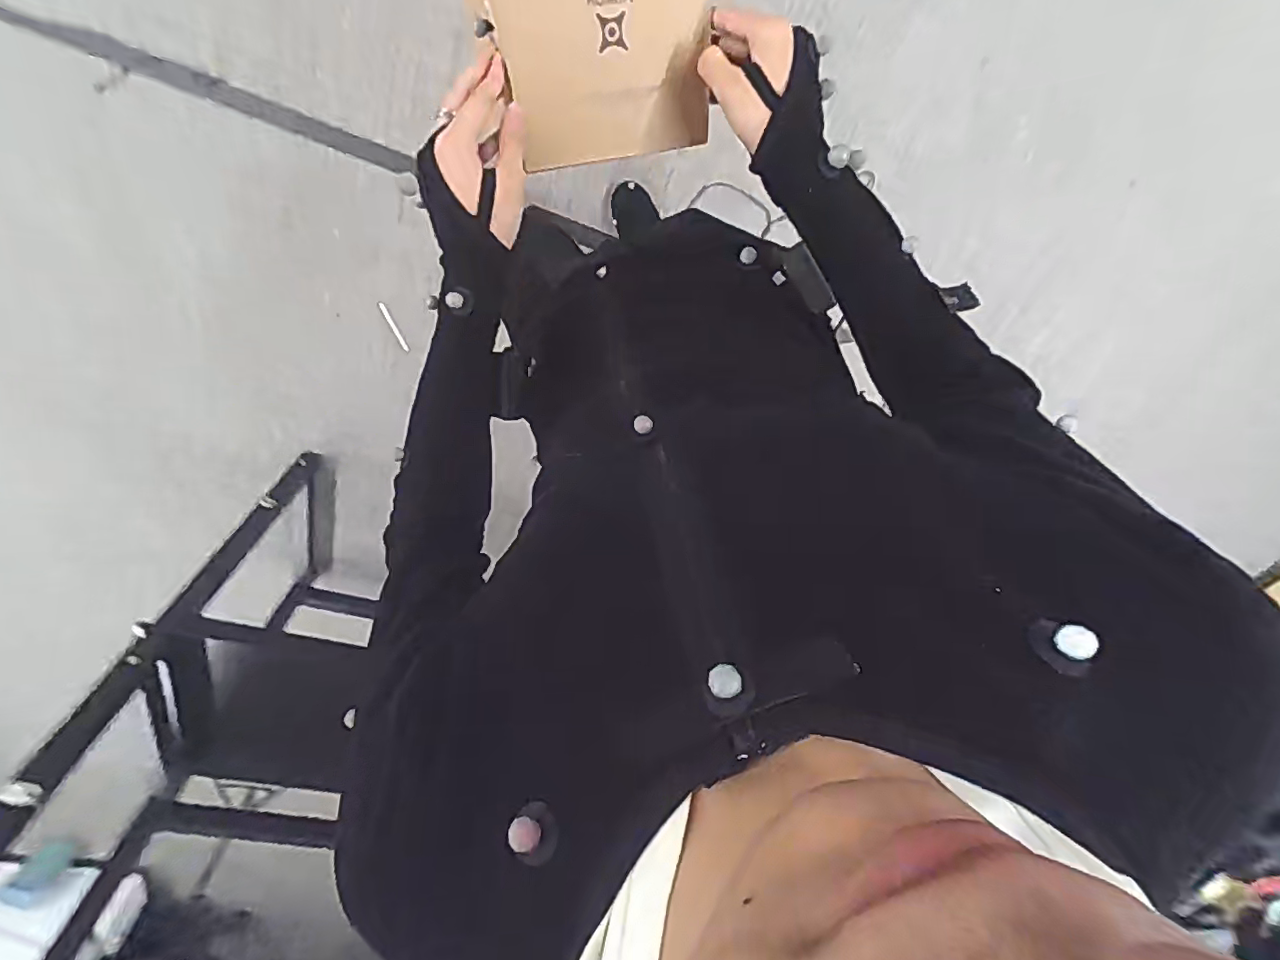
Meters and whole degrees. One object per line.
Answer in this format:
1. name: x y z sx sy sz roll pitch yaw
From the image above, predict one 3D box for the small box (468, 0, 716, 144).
1. small box: -0.049 -0.395 0.440 0.168 0.176 0.179 -16 134 -14
